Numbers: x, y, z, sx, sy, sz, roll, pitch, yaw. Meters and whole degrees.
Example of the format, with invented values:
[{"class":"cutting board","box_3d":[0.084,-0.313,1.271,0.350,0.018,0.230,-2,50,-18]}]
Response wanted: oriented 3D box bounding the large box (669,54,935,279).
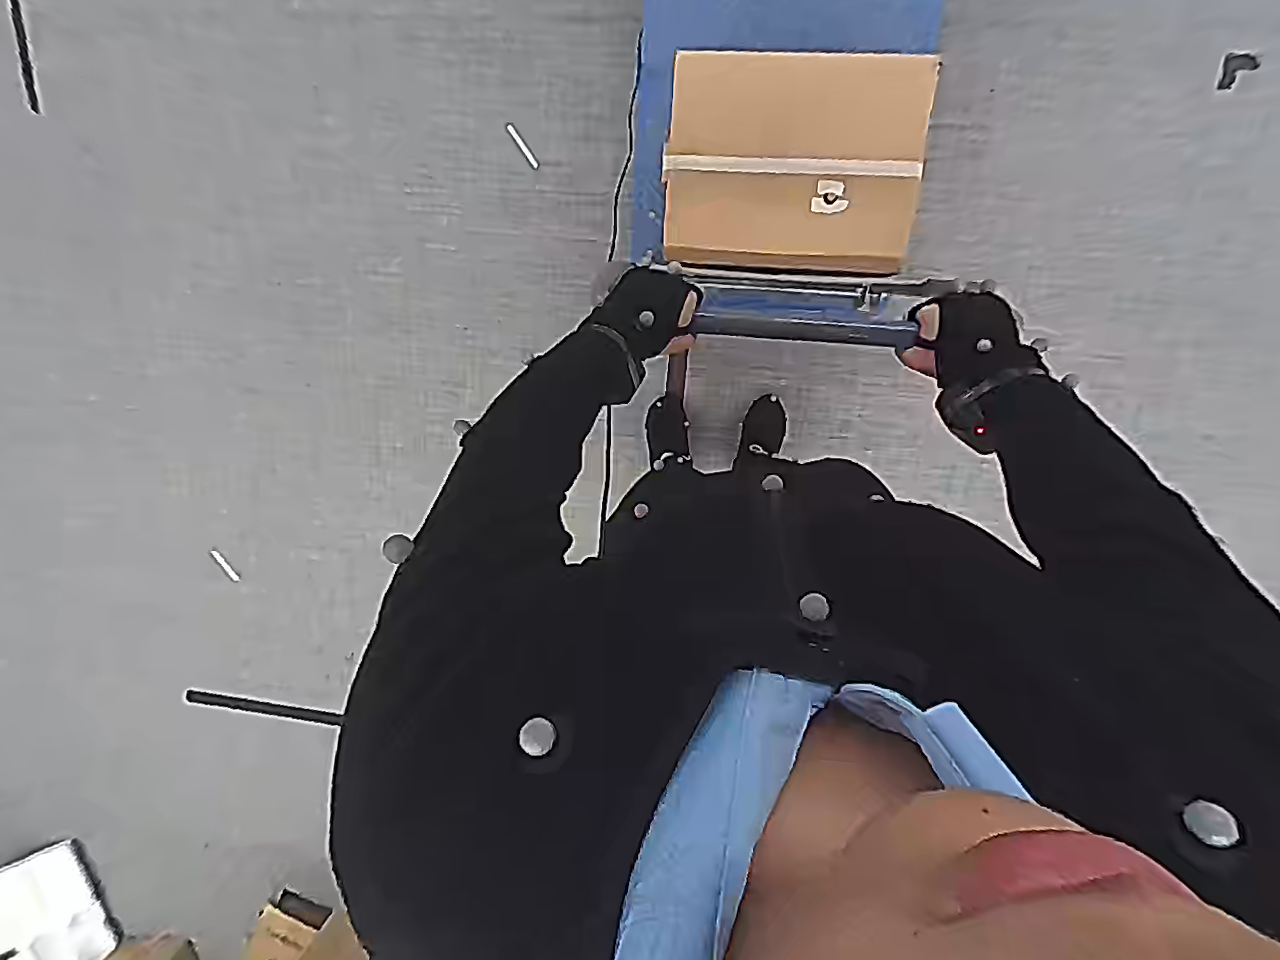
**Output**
[{"class":"large box","box_3d":[0.266,-0.562,1.033,0.408,0.320,0.320,5,108,5]}]
